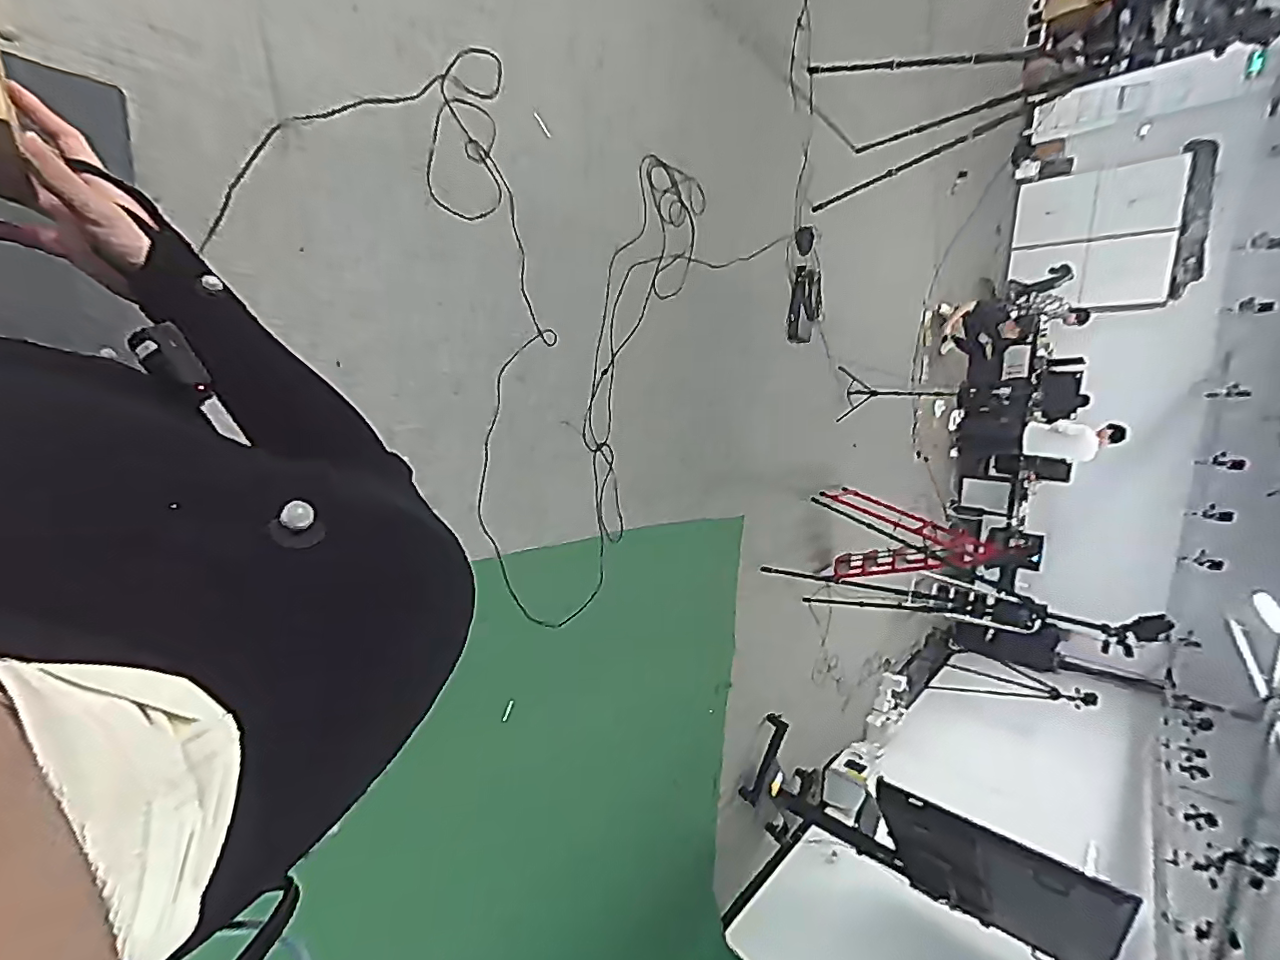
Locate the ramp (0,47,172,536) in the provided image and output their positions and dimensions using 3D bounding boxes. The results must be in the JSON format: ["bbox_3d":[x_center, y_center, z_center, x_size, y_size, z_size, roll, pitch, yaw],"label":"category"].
[{"bbox_3d":[-1.304,-0.384,1.072,0.509,0.206,0.991,-9,103,-46],"label":"ramp"}]
